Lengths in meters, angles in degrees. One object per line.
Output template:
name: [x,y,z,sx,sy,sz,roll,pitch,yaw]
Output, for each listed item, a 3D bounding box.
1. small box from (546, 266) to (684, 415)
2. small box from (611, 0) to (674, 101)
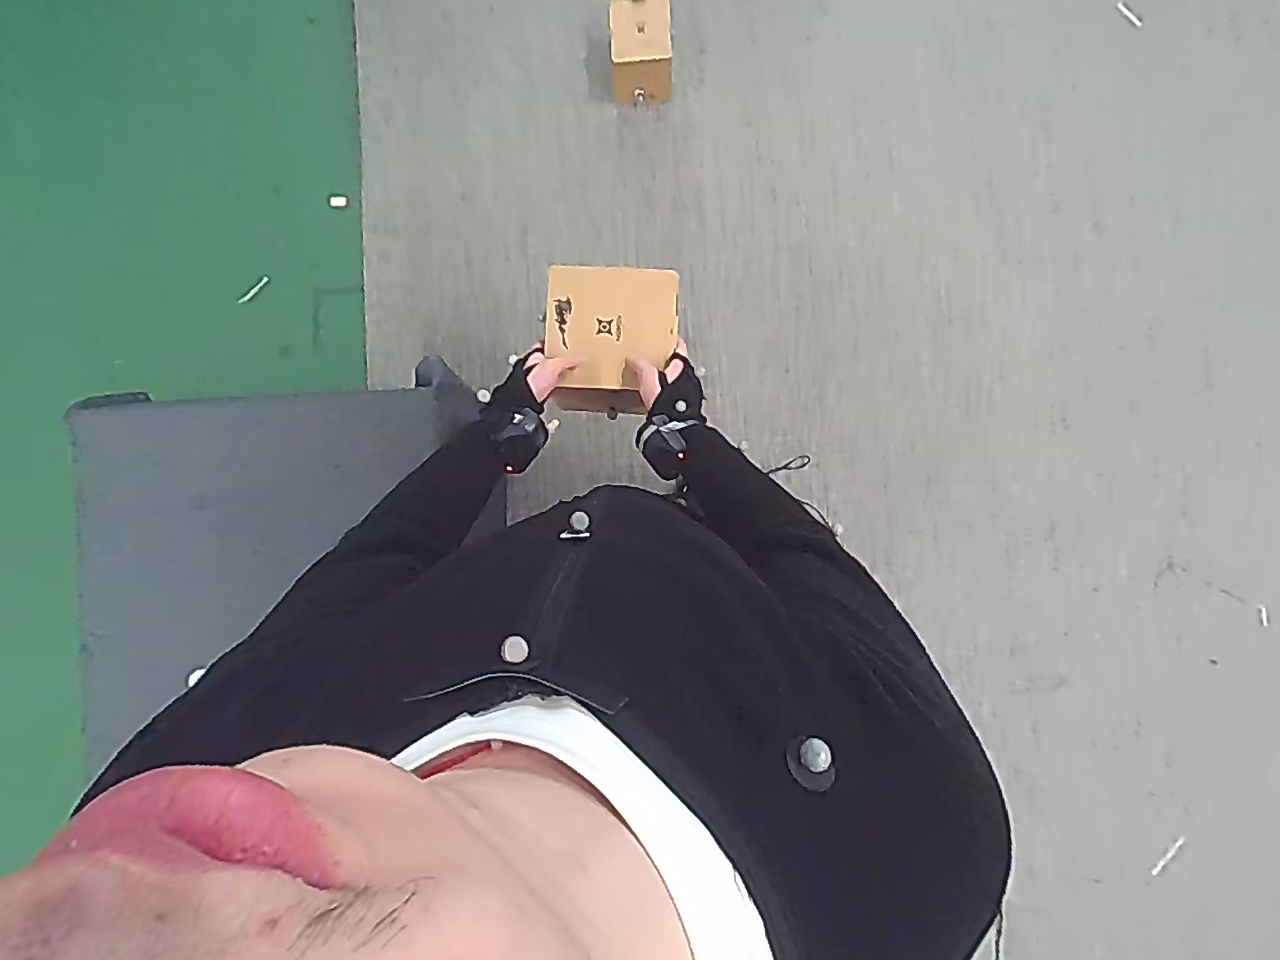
small box: [-0.035,-0.194,0.796,0.179,0.176,0.168,3,86,-1]
small box: [0.010,-1.209,1.516,0.168,0.176,0.179,-1,89,4]
